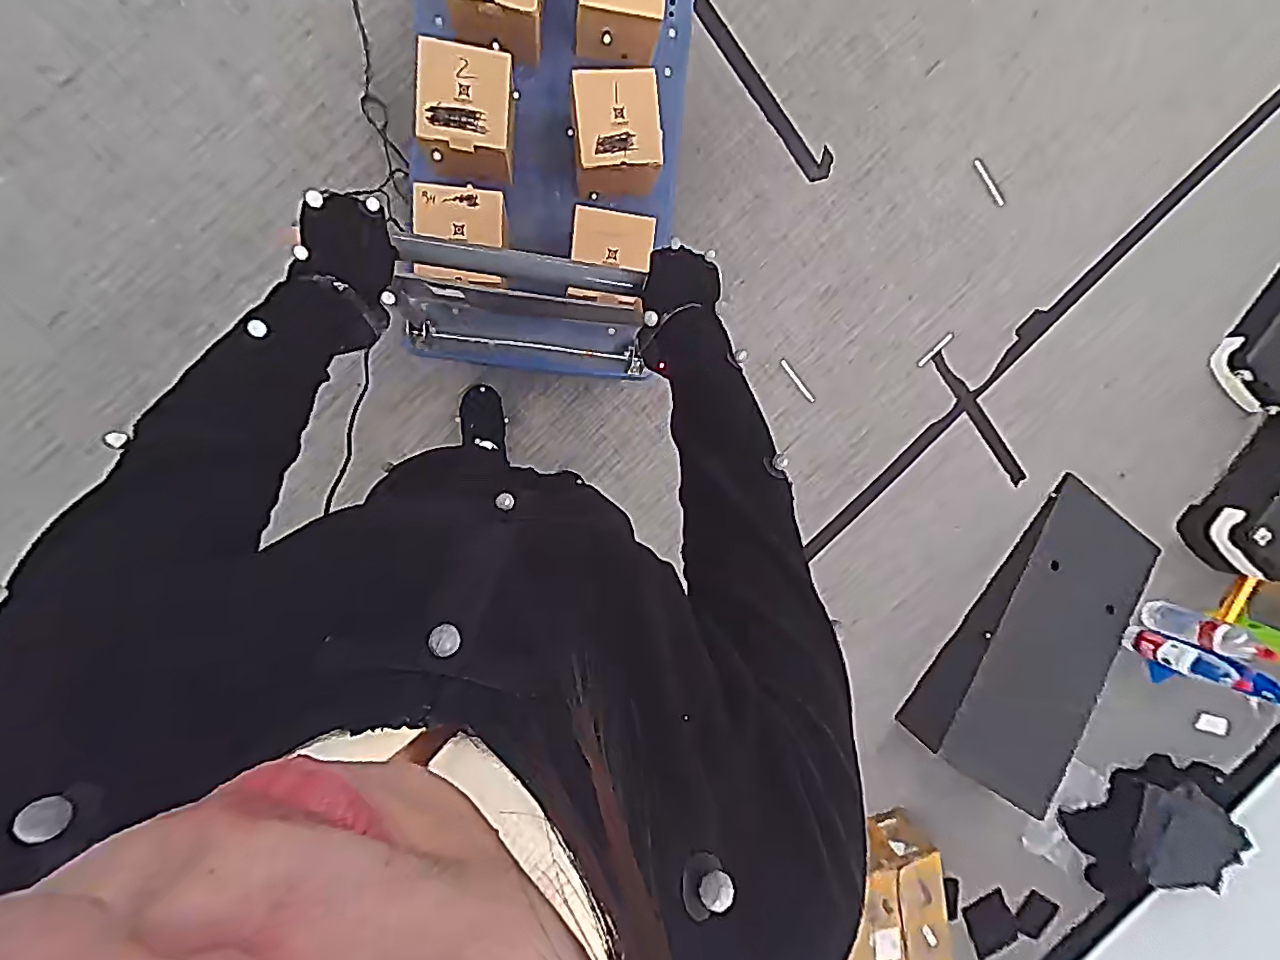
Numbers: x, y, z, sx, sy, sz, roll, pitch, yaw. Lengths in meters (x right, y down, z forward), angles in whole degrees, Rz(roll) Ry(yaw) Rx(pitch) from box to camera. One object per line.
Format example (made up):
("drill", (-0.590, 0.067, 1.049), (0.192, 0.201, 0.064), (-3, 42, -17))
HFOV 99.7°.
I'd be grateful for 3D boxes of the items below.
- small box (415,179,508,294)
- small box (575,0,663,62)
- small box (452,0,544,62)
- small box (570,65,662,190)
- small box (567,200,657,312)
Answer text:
("small box", (-0.360, -0.489, 1.115), (0.168, 0.176, 0.179), (1, 99, -11))
("small box", (-0.044, -0.996, 1.095), (0.168, 0.176, 0.179), (2, 98, -10))
("small box", (-0.275, -0.977, 1.056), (0.168, 0.176, 0.179), (6, 98, -10))
("small box", (-0.055, -0.726, 1.133), (0.168, 0.176, 0.179), (-8, 99, -9))
("small box", (-0.067, -0.472, 1.170), (0.168, 0.176, 0.179), (5, 97, -11))
